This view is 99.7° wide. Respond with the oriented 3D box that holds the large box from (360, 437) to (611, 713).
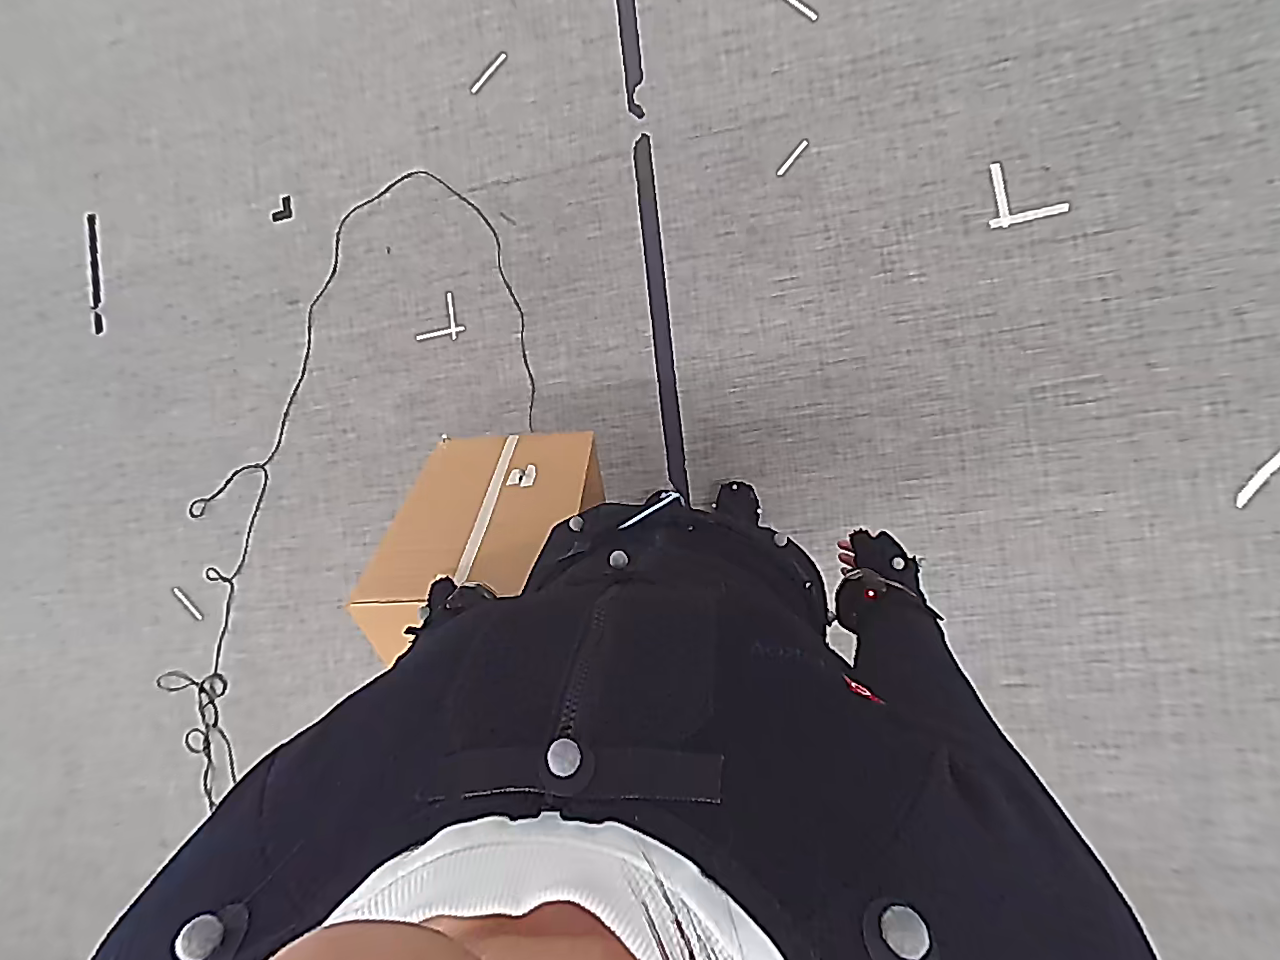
[{"bbox_3d":[-0.233,0.163,1.000,0.320,0.408,0.320,-2,128,4],"label":"large box"}]
